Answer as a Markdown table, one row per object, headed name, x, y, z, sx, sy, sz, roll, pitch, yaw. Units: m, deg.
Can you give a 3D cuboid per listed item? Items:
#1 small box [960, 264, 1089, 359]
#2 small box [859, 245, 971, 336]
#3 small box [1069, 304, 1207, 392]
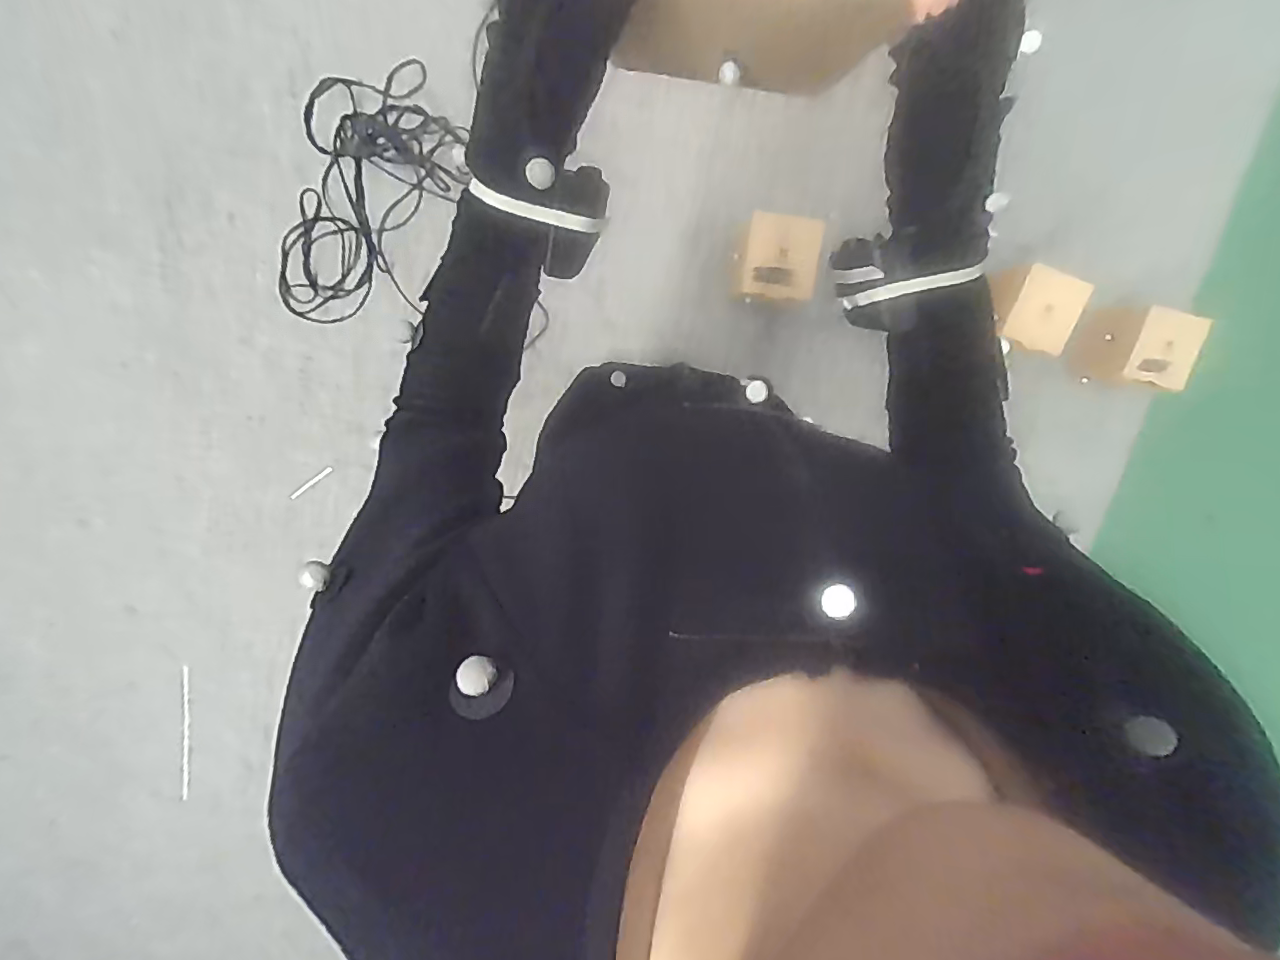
| name | x | y | z | sx | sy | sz | roll | pitch | yaw |
| --- | --- | --- | --- | --- | --- | --- | --- | --- | --- |
| small box | 0.942 | -0.412 | 1.345 | 0.168 | 0.176 | 0.179 | 17 | 102 | -6 |
| small box | 0.662 | -0.456 | 1.323 | 0.168 | 0.176 | 0.179 | 9 | 104 | -2 |
| small box | 1.250 | -0.332 | 1.375 | 0.168 | 0.176 | 0.179 | 13 | 101 | -5 |
